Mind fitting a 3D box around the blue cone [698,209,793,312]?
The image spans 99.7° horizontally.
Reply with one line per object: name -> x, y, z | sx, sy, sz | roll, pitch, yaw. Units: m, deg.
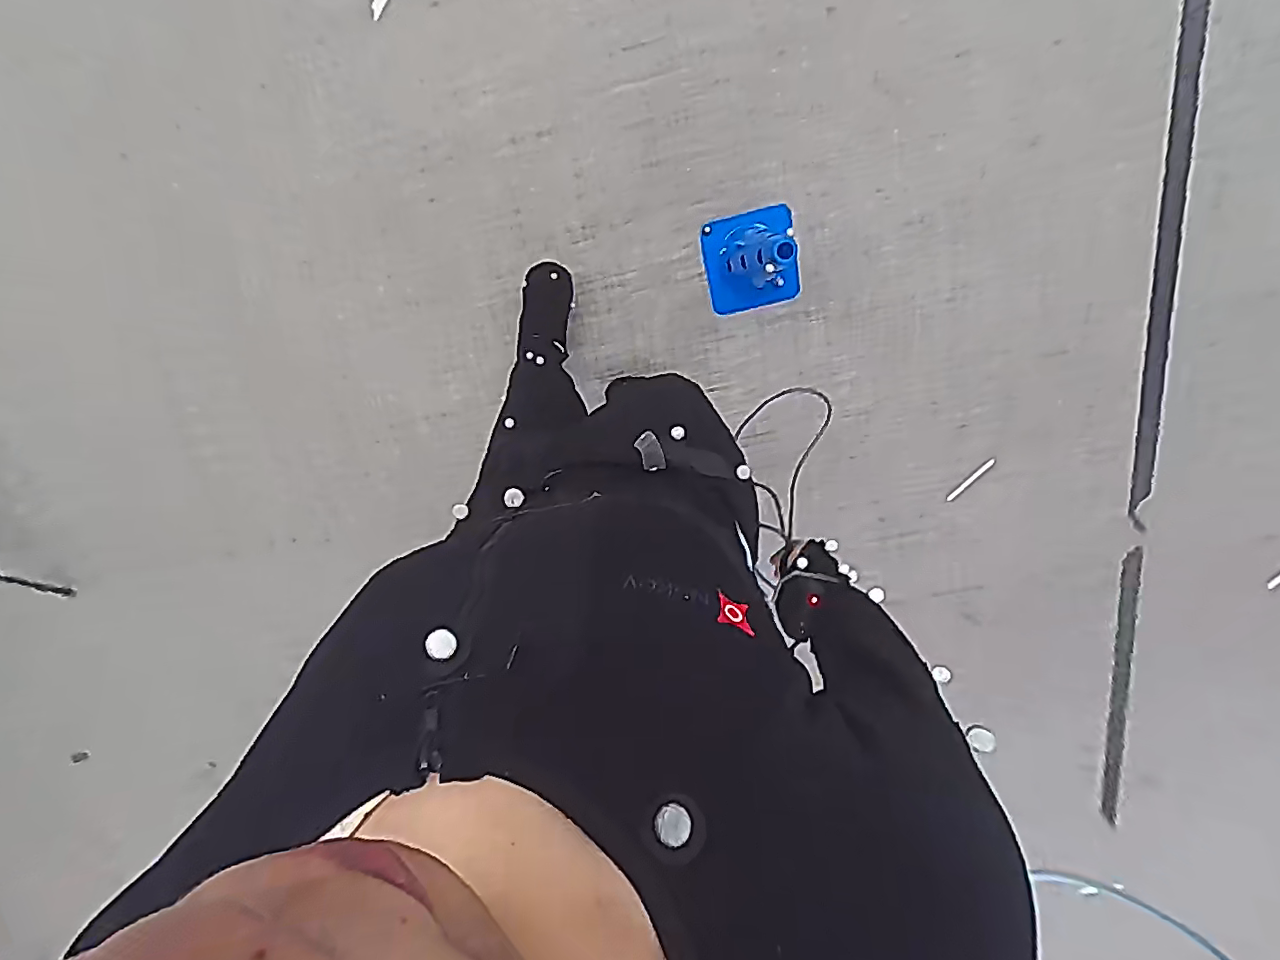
blue cone -> 0.226, -0.427, 1.036 | 0.192, 0.380, 0.193 | -10, 109, 7
